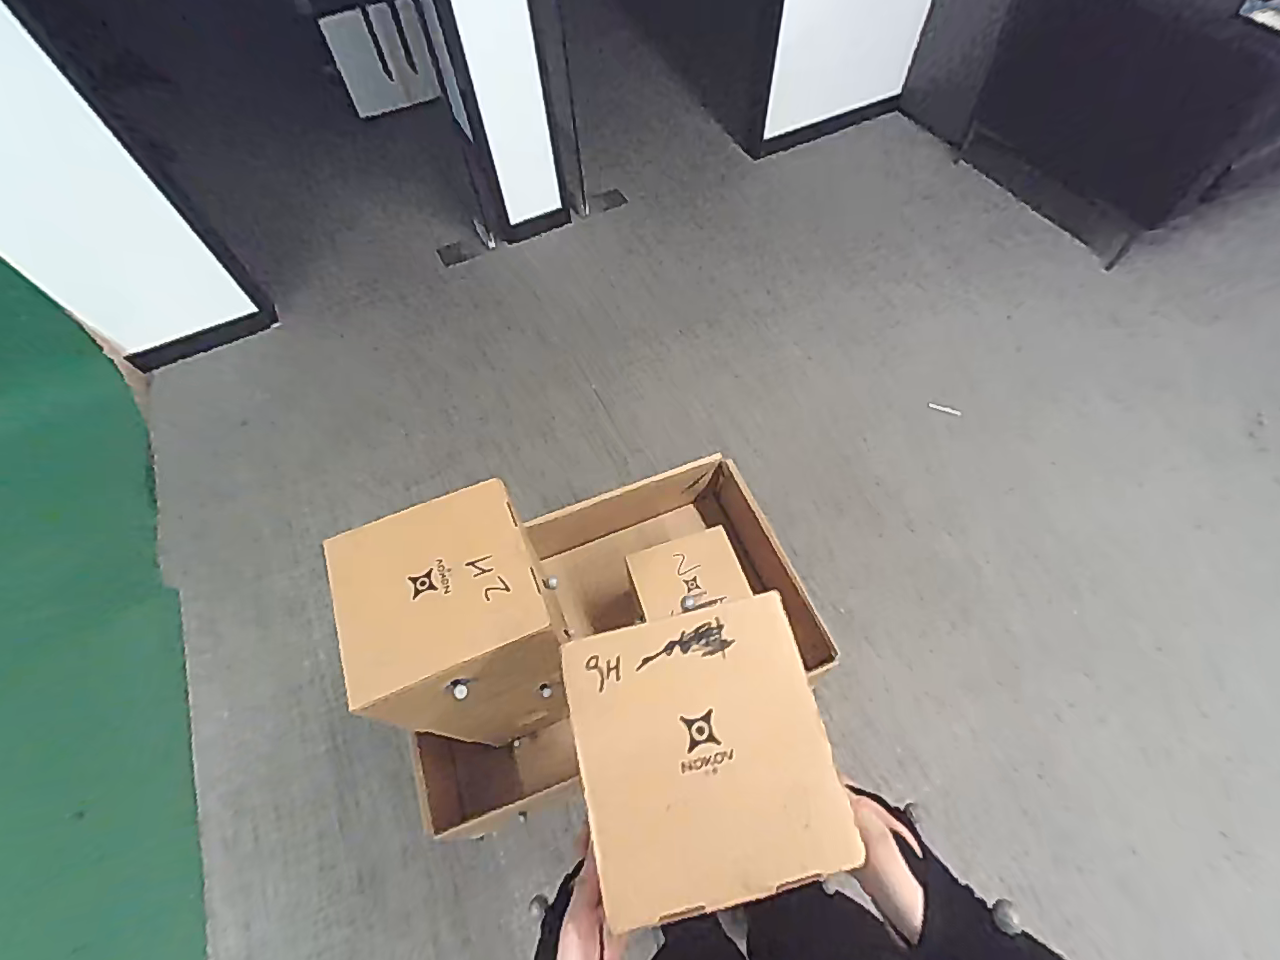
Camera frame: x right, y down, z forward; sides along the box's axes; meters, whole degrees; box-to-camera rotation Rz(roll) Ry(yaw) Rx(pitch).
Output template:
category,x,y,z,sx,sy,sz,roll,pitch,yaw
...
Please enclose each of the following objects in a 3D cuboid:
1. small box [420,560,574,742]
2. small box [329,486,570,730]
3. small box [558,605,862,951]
category,x,y,z,sx,sy,sz,roll,pitch,yaw
small box,-0.184,0.221,0.702,0.179,0.176,0.168,-20,61,-11
small box,-0.184,0.138,0.558,0.179,0.176,0.168,-20,62,-11
small box,0.042,0.214,0.431,0.168,0.176,0.179,-13,68,-5
